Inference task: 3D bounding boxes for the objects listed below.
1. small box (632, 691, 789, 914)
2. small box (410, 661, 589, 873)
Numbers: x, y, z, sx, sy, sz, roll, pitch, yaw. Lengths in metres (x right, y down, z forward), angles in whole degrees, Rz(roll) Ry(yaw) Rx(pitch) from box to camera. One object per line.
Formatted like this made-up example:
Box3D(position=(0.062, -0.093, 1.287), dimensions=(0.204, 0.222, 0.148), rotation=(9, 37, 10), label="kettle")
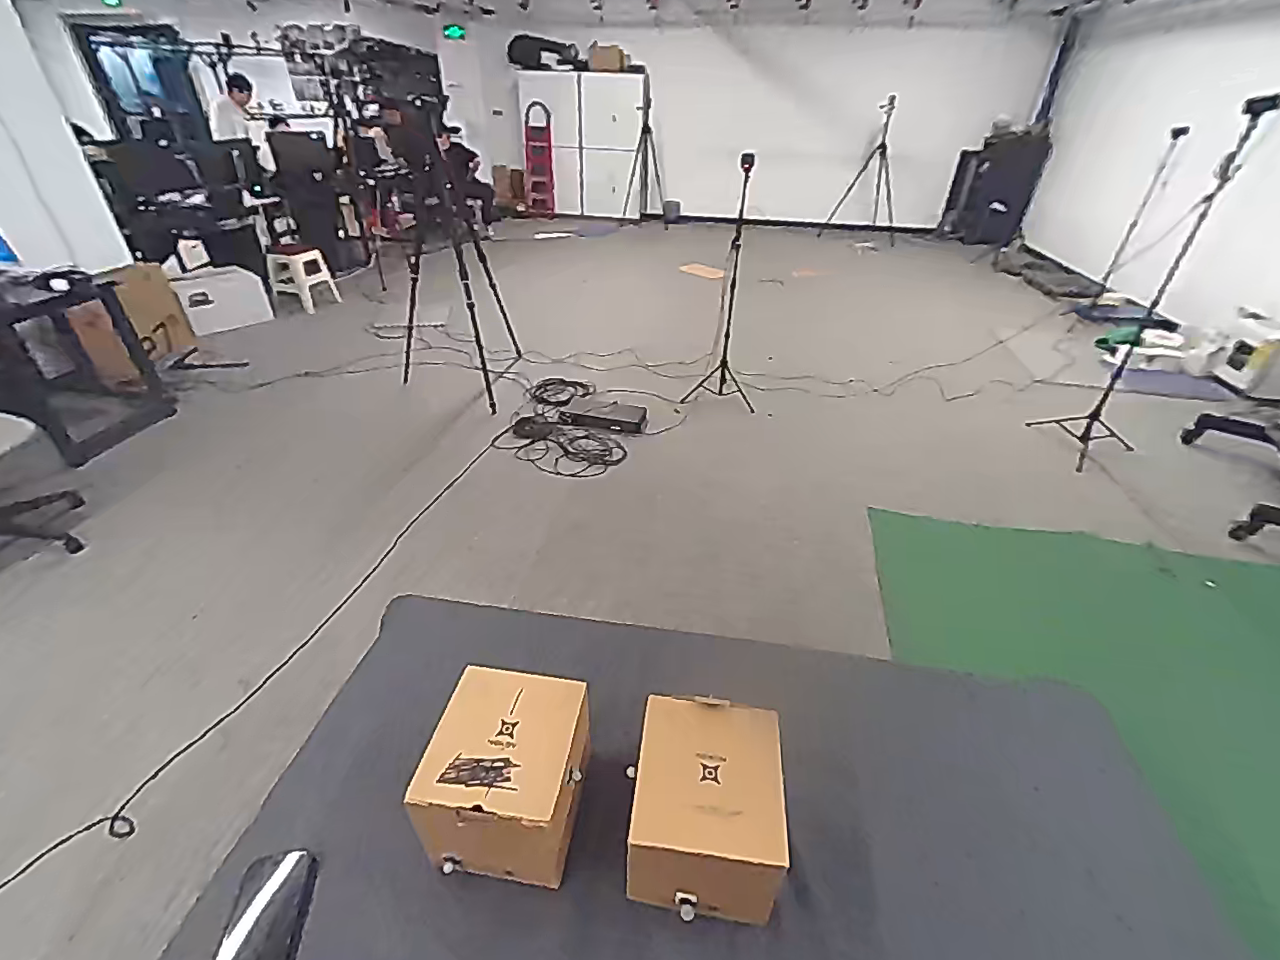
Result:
Box3D(position=(0.081, 0.396, 0.672), dimensions=(0.168, 0.176, 0.179), rotation=(4, 36, 5), label="small box")
Box3D(position=(-0.161, 0.366, 0.694), dimensions=(0.168, 0.176, 0.179), rotation=(6, 34, 6), label="small box")
